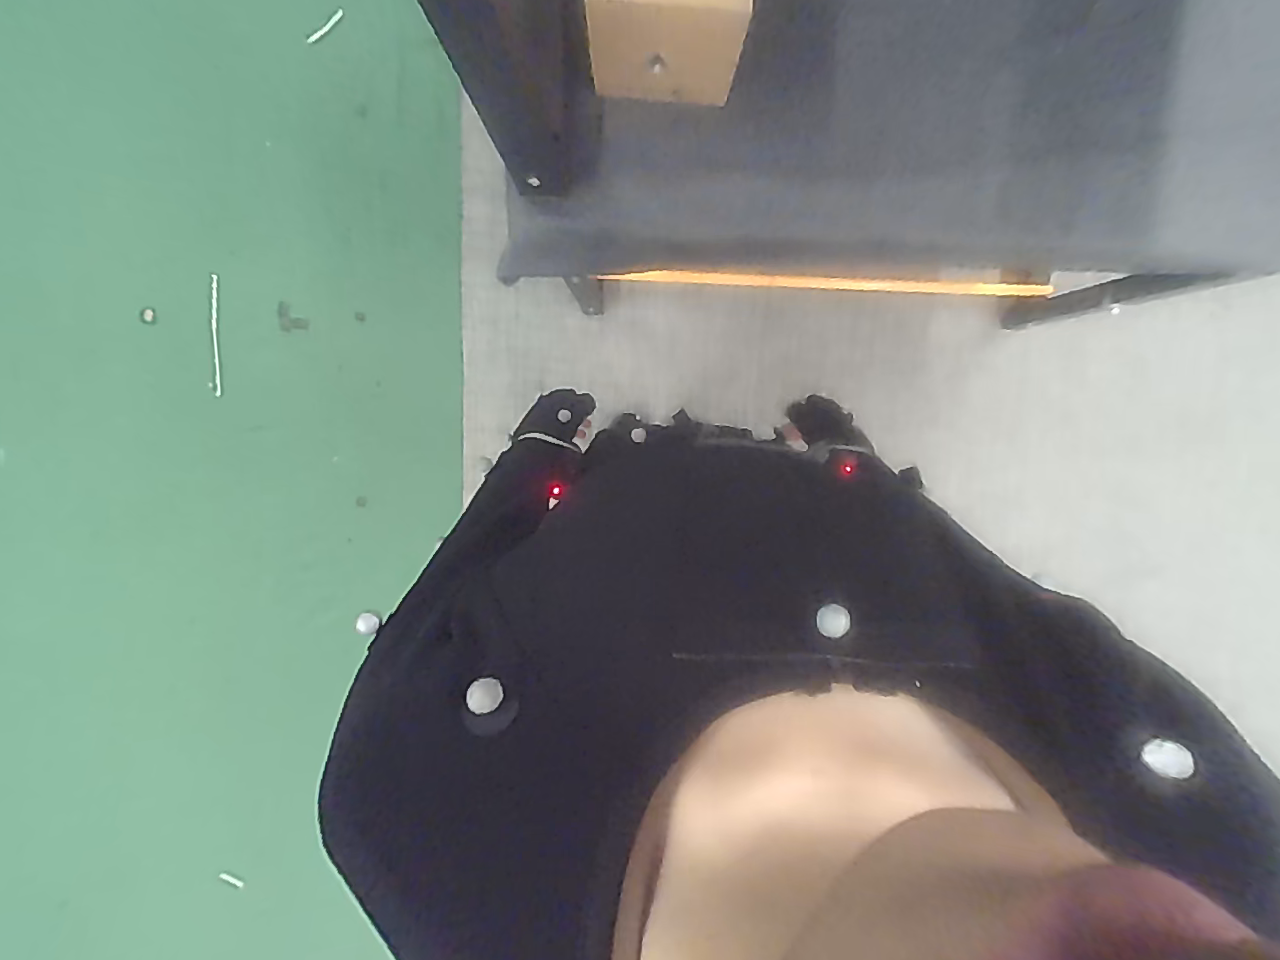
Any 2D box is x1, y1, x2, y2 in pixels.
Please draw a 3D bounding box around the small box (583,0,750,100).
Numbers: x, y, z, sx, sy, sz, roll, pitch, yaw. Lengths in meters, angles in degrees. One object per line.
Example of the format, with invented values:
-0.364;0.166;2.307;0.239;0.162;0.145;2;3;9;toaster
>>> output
0.033;-0.552;0.586;0.168;0.176;0.179;4;97;-1;small box
